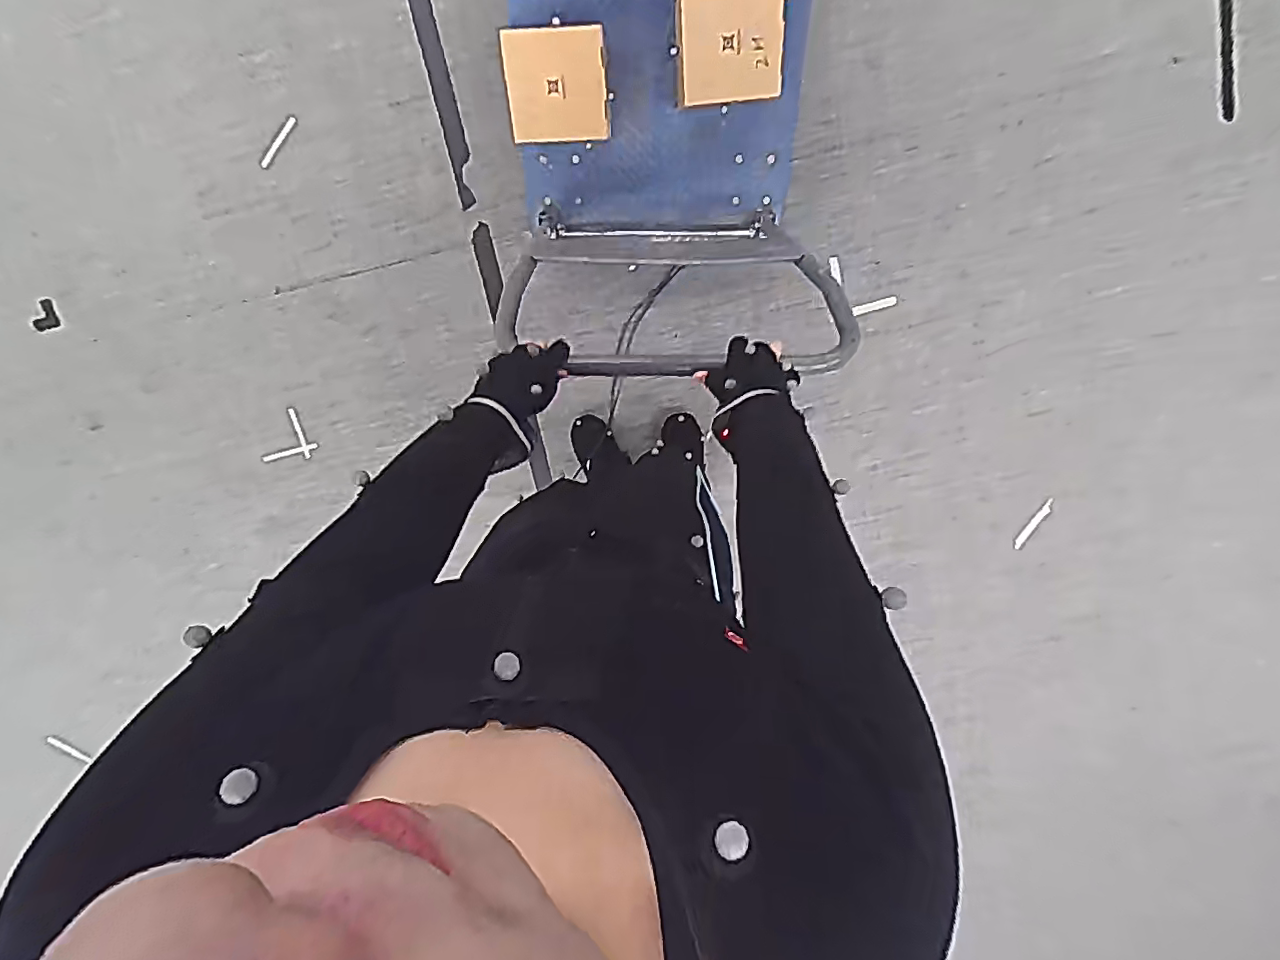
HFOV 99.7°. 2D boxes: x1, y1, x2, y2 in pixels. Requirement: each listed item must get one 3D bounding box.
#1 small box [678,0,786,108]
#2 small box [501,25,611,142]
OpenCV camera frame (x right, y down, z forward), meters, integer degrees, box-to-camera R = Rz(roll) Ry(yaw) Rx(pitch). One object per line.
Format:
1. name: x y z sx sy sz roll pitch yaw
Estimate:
1. small box: 0.159 -0.791 0.991 0.179 0.176 0.168 -4 124 2
2. small box: -0.149 -0.740 1.023 0.179 0.176 0.168 -3 123 0
